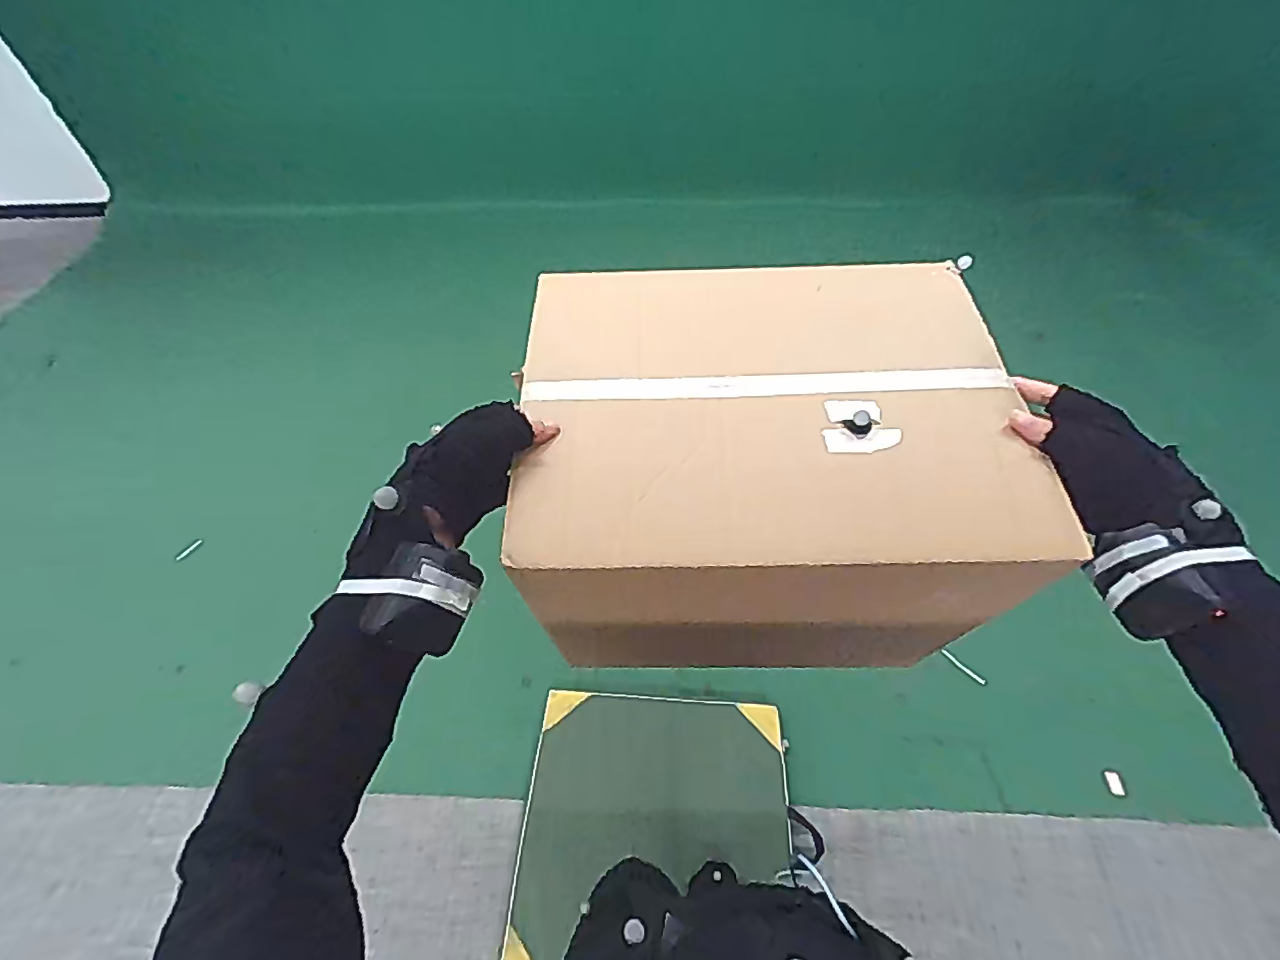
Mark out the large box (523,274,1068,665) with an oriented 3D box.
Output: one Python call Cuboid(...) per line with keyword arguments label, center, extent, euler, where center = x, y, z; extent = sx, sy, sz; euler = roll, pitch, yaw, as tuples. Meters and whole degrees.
Cuboid(label="large box", center=(0.110, 0.005, 0.592), extent=(0.408, 0.320, 0.320), euler=(-1, 59, 1))
